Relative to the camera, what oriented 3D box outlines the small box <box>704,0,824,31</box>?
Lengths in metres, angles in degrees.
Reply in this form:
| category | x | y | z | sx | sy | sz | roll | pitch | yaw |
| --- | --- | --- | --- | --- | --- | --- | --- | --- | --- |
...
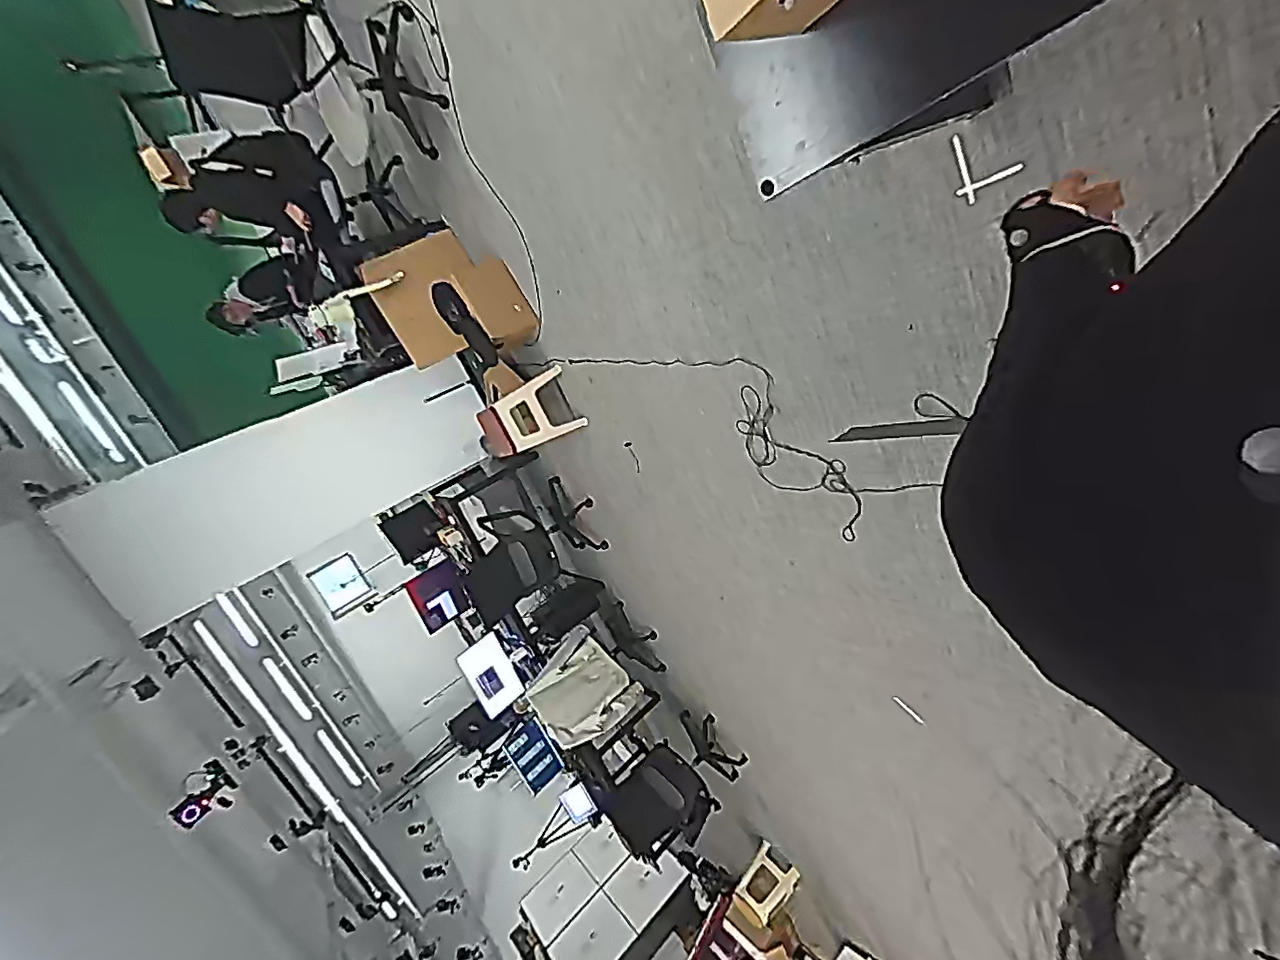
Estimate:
| category | x | y | z | sx | sy | sz | roll | pitch | yaw |
| --- | --- | --- | --- | --- | --- | --- | --- | --- | --- |
| small box | 0.160 | -0.618 | 0.565 | 0.179 | 0.176 | 0.168 | -1 | 119 | 55 |
